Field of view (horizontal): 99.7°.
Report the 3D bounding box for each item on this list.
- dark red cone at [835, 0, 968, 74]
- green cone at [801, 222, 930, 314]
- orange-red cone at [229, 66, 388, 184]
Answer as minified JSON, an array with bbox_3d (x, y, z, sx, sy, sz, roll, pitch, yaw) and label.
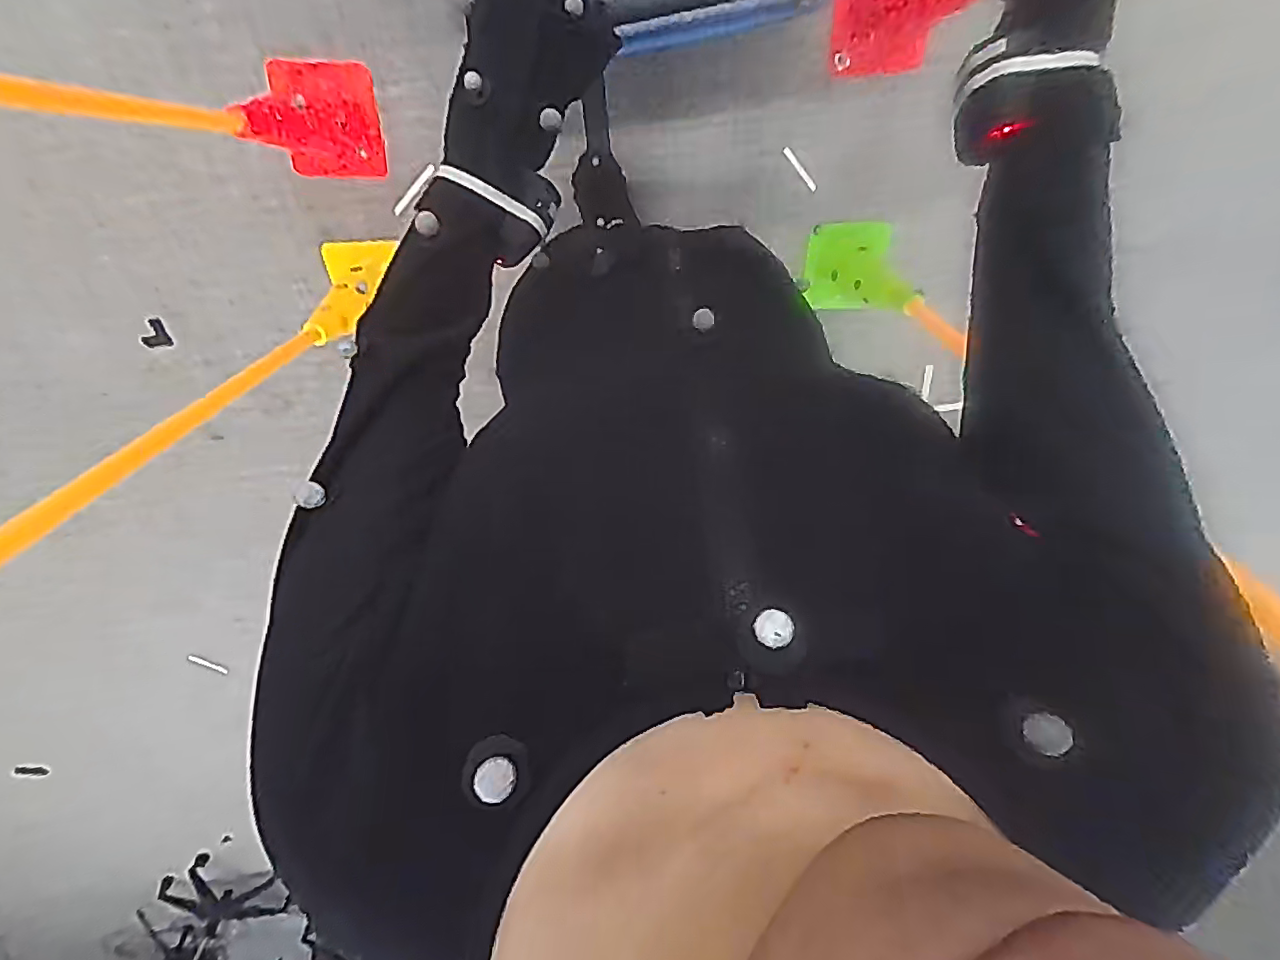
[{"bbox_3d":[0.495,-0.826,0.909,0.201,0.394,0.202,-8,124,-2],"label":"dark red cone"},{"bbox_3d":[0.518,-0.430,1.189,0.202,0.368,0.200,-4,123,-3],"label":"green cone"},{"bbox_3d":[-0.621,-0.638,0.971,0.198,0.360,0.199,-1,122,-5],"label":"orange-red cone"}]
